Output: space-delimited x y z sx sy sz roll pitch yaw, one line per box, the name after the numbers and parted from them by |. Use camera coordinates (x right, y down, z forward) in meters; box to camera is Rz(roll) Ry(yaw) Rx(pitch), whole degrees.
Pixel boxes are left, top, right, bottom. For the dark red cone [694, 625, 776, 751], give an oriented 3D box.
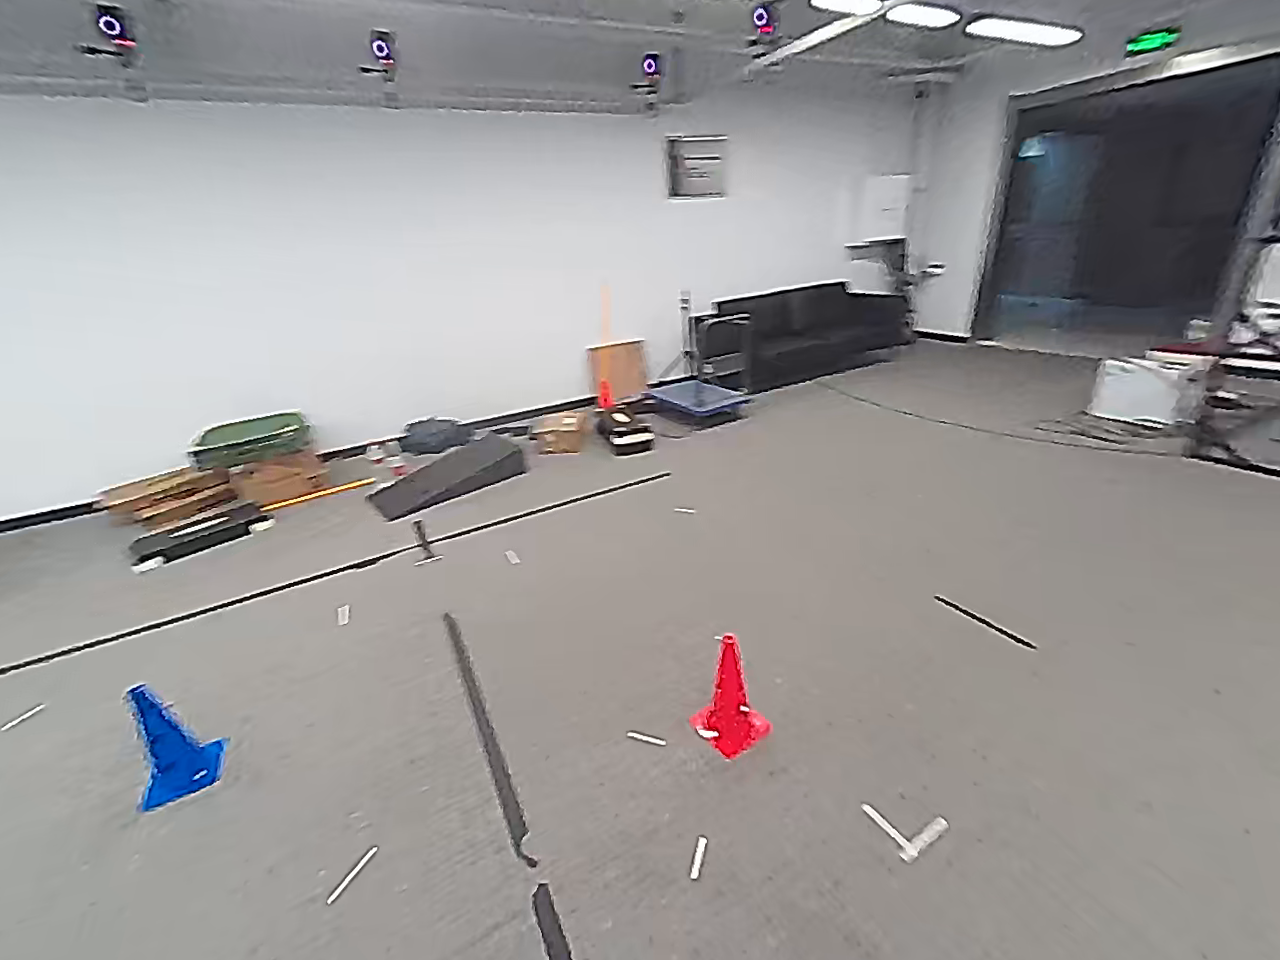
0.288 0.608 1.657 0.201 0.394 0.202 -21 28 -30 | dark red cone

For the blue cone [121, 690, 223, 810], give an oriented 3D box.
-1.463 0.790 1.653 0.192 0.380 0.193 -17 26 -23 | blue cone
